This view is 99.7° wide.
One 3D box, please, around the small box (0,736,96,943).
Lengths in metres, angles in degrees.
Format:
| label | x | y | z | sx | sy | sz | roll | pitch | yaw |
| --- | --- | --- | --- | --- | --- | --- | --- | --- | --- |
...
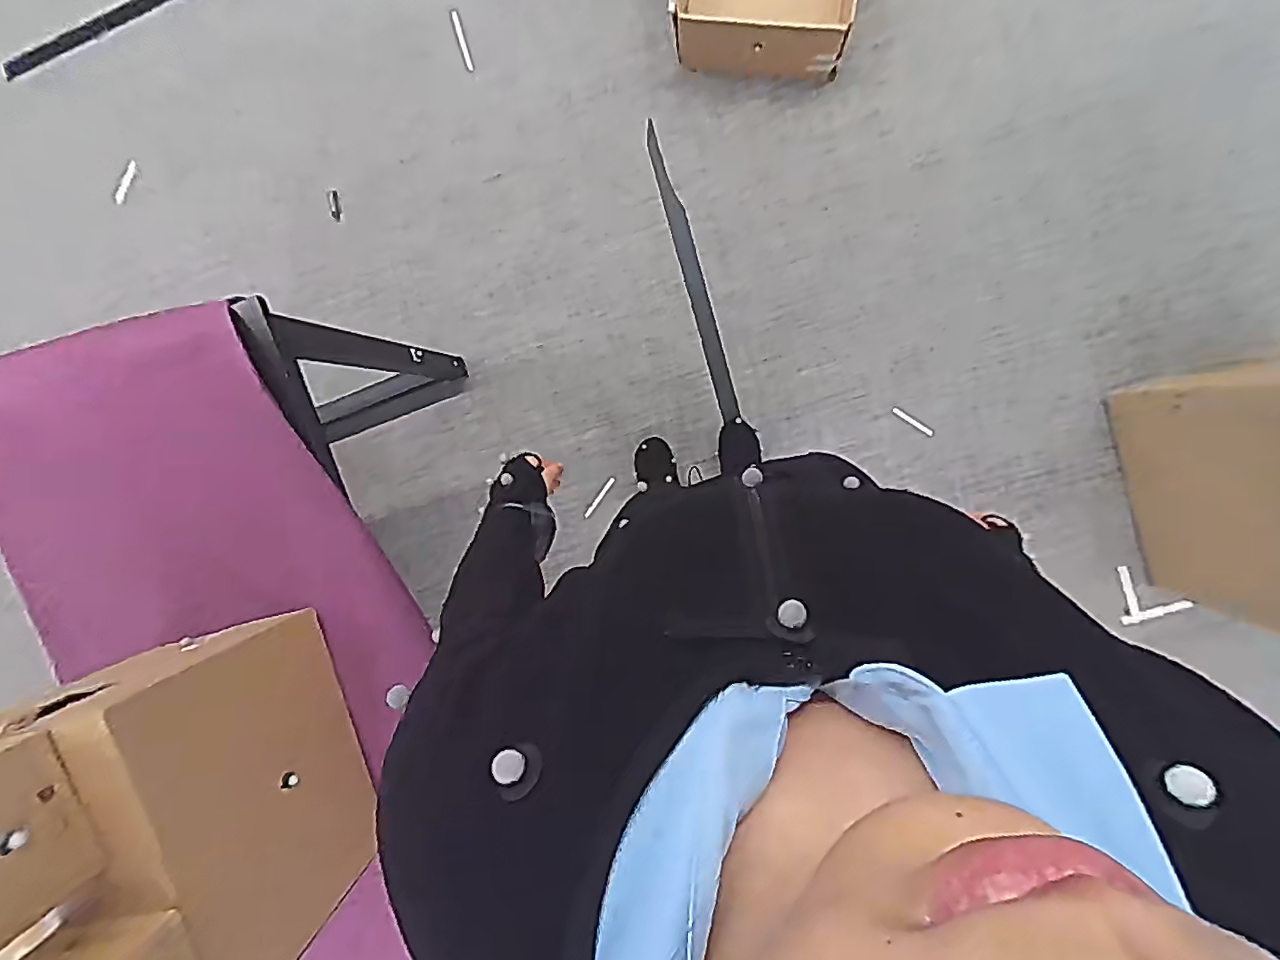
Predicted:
| label | x | y | z | sx | sy | sz | roll | pitch | yaw |
| --- | --- | --- | --- | --- | --- | --- | --- | --- | --- |
| small box | -0.671 | 0.364 | 0.487 | 0.179 | 0.176 | 0.168 | -16 | 96 | 9 |

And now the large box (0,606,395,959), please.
| label | x | y | z | sx | sy | sz | roll | pitch | yaw |
| --- | --- | --- | --- | --- | --- | --- | --- | --- | --- |
| large box | -0.611 | 0.442 | 0.738 | 0.320 | 0.320 | 0.408 | -16 | 96 | 10 |
